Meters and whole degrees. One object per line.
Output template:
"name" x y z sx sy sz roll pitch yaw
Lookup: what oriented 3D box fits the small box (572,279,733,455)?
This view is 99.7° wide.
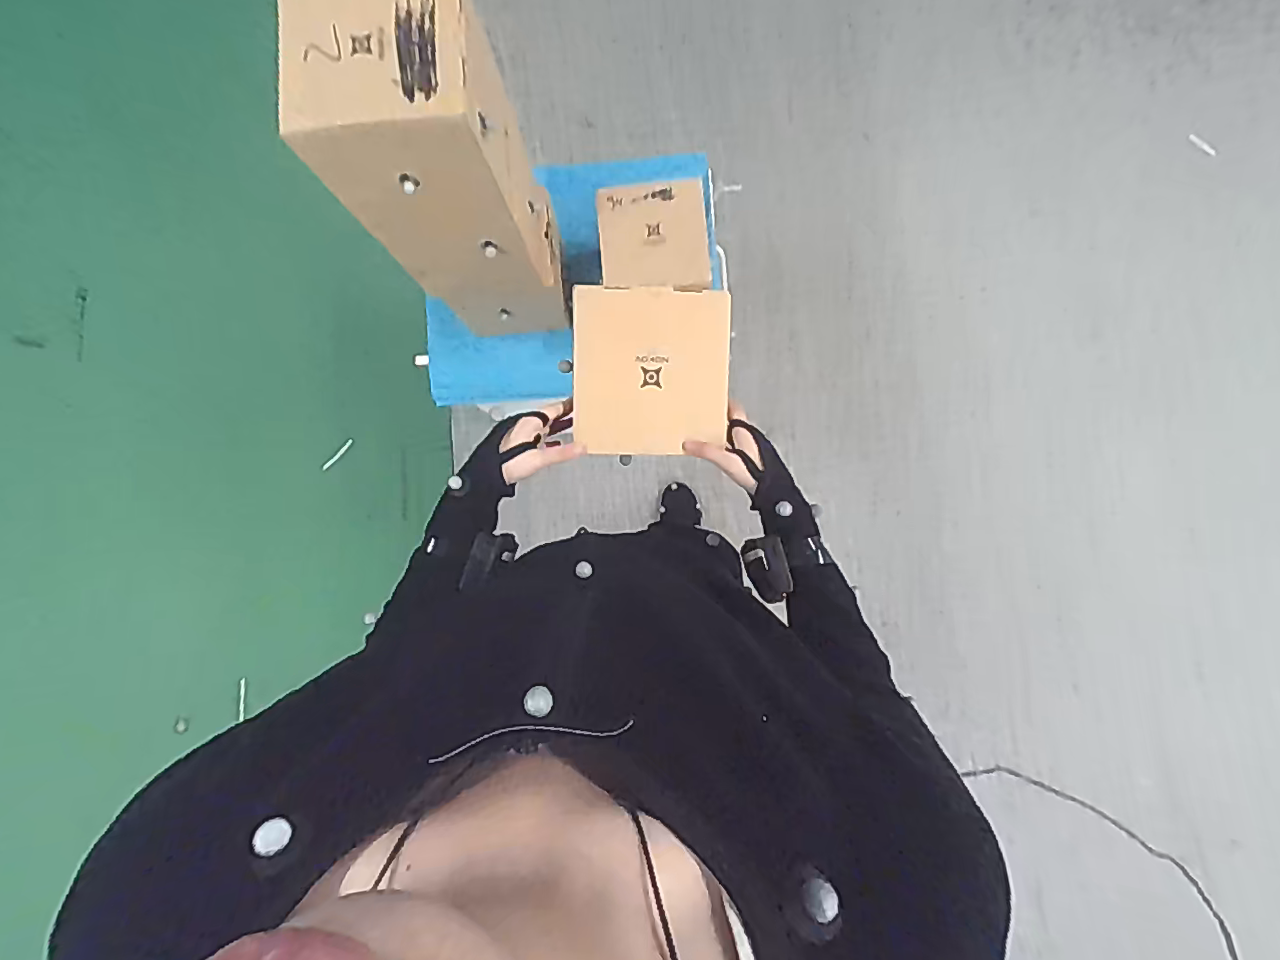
"small box" 0.007 -0.122 0.635 0.168 0.176 0.179 0 95 -5

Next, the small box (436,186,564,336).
"small box" -0.224 -0.352 0.895 0.179 0.176 0.168 -5 83 2

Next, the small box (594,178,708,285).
"small box" 0.020 -0.355 0.887 0.168 0.176 0.179 -5 84 1

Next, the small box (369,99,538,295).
"small box" -0.238 -0.369 0.732 0.179 0.176 0.168 -5 83 1
